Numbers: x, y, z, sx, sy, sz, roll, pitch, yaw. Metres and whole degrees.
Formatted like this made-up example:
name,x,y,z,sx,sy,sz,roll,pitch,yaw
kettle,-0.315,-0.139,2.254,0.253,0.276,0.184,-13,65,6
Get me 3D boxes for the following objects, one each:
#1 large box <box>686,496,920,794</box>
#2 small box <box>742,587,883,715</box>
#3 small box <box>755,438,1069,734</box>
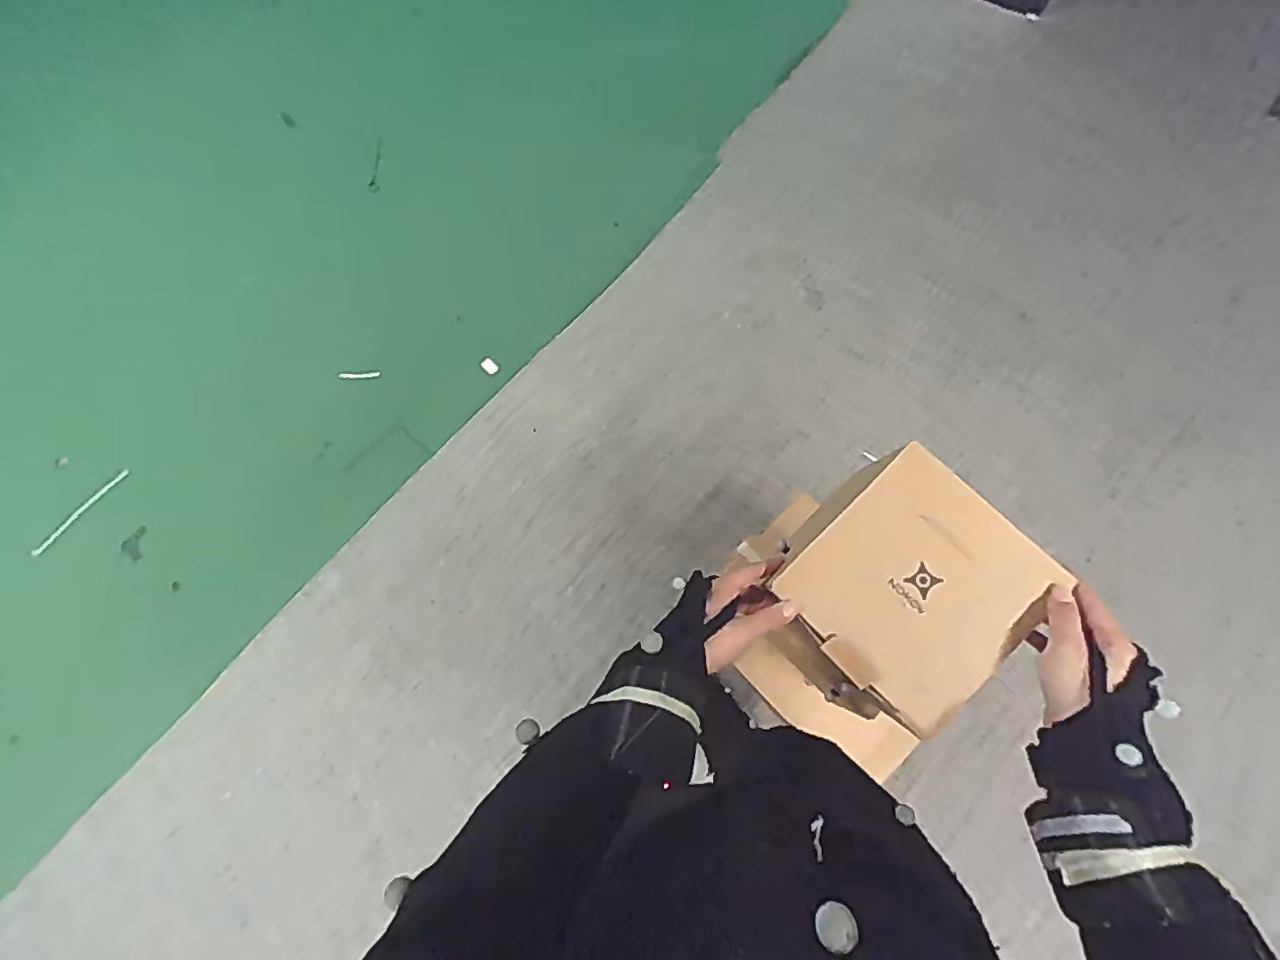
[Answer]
name,x,y,z,sx,sy,sz,roll,pitch,yaw
large box,0.334,0.299,1.056,0.320,0.320,0.408,-43,76,-6
small box,0.248,0.161,0.679,0.168,0.176,0.179,-44,76,-8
small box,0.225,0.092,0.507,0.168,0.176,0.179,44,86,8
